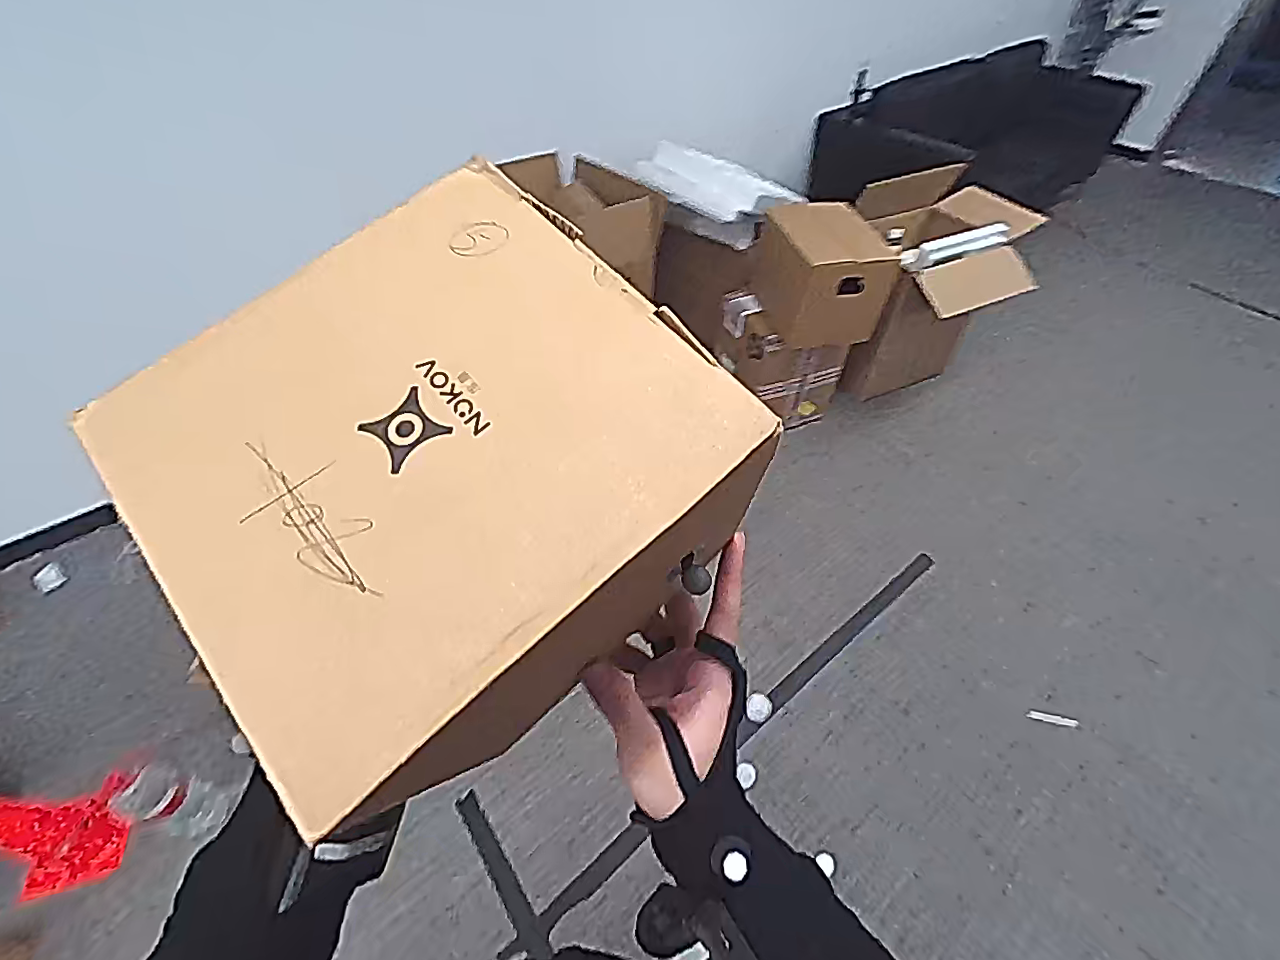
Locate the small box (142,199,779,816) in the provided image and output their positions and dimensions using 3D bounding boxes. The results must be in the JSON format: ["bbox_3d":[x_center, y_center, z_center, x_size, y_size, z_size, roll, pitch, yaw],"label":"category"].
[{"bbox_3d":[-0.063,0.015,0.266,0.179,0.176,0.168,-40,71,-11],"label":"small box"}]
